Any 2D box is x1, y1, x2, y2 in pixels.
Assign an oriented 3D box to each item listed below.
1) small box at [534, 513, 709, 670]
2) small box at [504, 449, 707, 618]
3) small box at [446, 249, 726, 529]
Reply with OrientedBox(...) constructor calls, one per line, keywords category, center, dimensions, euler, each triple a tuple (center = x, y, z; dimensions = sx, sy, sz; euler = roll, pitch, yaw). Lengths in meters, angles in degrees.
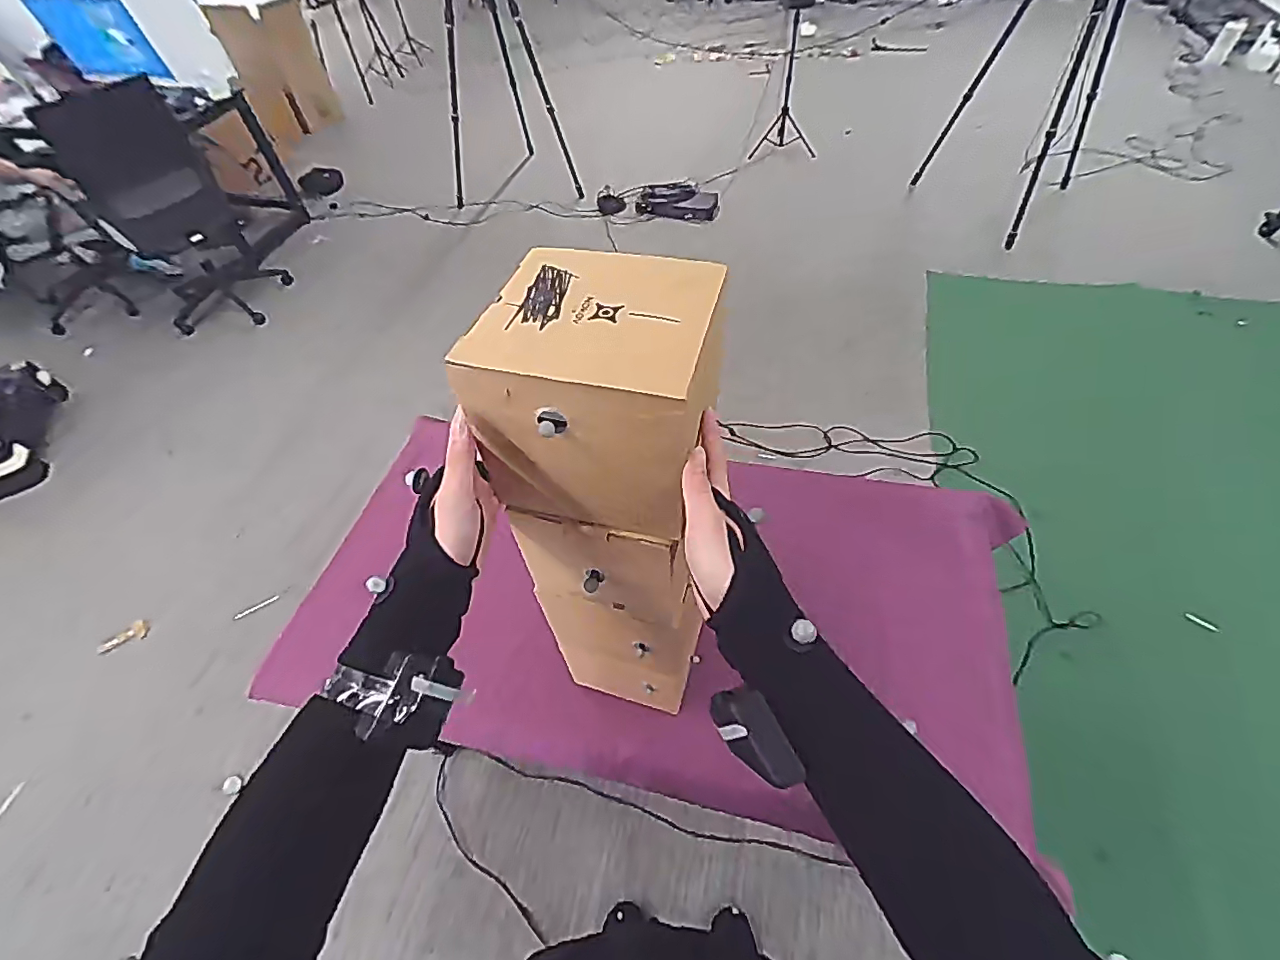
OrientedBox(category="small box", center=(-0.014, 0.135, 0.723), dimensions=(0.179, 0.176, 0.168), euler=(12, 53, 14))
OrientedBox(category="small box", center=(-0.021, 0.029, 0.600), dimensions=(0.168, 0.176, 0.179), euler=(12, 54, 13))
OrientedBox(category="small box", center=(-0.030, -0.077, 0.473), dimensions=(0.179, 0.176, 0.168), euler=(11, 52, 12))
